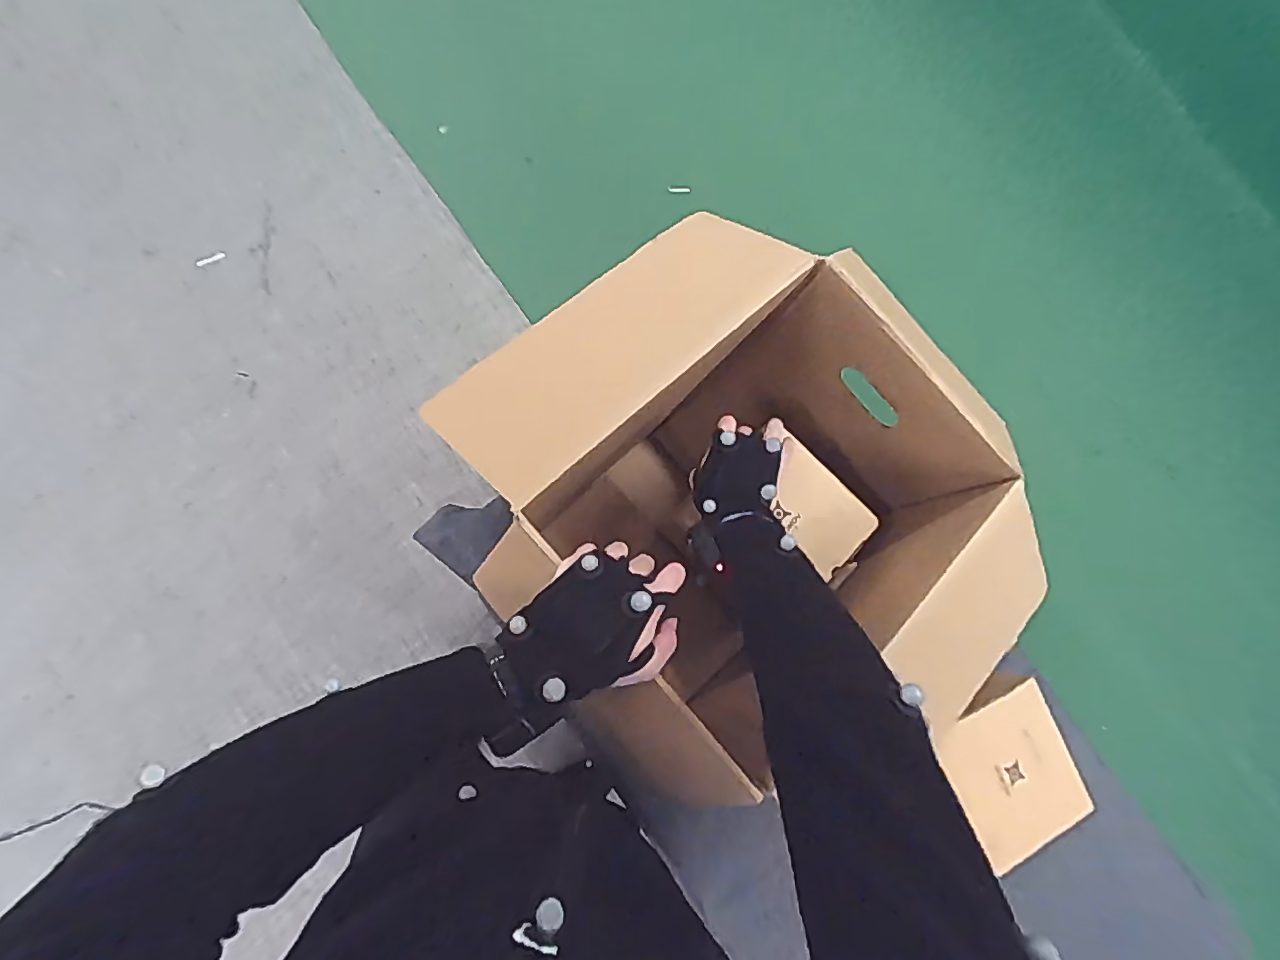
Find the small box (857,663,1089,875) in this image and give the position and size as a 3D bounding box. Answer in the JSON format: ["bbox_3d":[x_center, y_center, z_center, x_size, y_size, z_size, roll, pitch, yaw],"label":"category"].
[{"bbox_3d":[0.416,0.358,0.710,0.179,0.176,0.168,-19,84,-17],"label":"small box"}]
